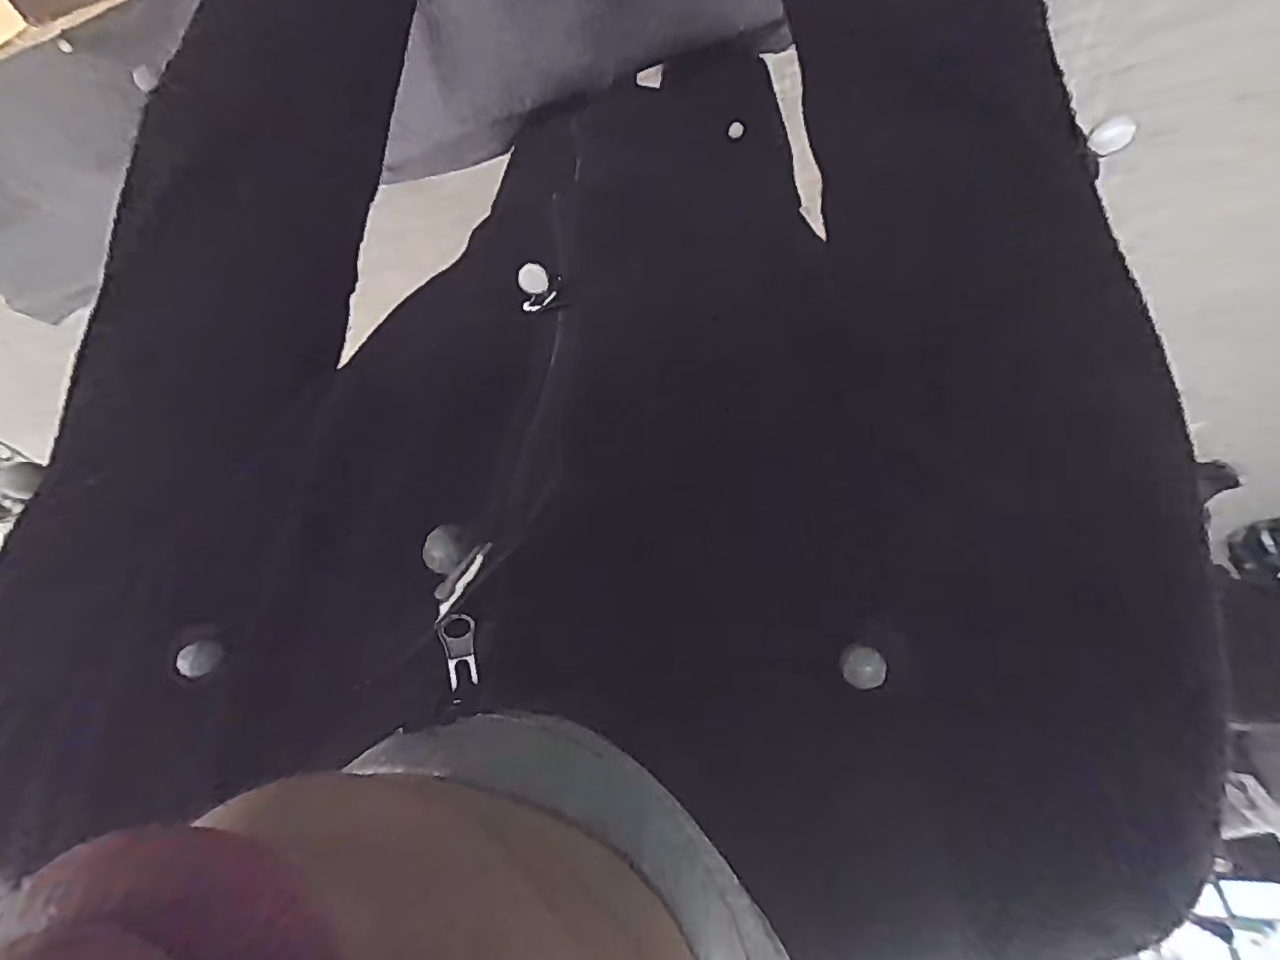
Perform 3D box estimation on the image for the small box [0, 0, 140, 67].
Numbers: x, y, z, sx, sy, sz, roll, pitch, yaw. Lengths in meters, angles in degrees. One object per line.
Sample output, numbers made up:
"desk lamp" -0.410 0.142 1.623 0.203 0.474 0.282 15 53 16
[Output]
"small box" -0.560 -0.452 0.428 0.168 0.176 0.179 -7 141 17
